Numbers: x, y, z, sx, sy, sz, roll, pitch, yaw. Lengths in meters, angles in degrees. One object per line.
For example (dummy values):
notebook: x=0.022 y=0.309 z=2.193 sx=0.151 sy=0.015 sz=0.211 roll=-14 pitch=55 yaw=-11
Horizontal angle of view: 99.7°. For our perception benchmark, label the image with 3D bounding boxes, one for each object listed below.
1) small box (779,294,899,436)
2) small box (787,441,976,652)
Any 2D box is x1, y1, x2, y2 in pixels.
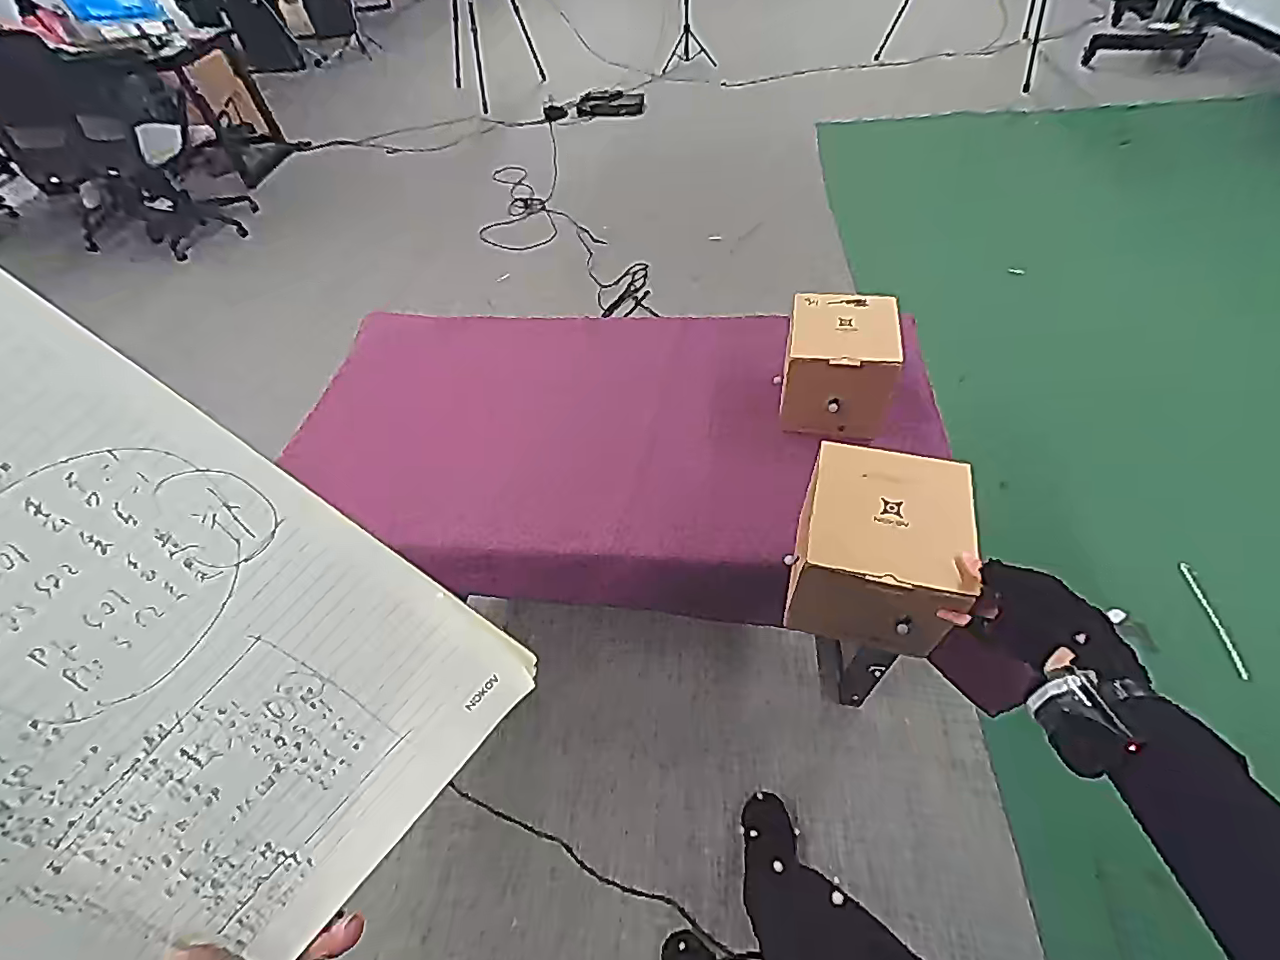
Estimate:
small box: x=0.334 y=-0.196 z=0.931 sx=0.168 sy=0.176 sz=0.179 roll=7 pitch=54 yaw=12
small box: x=0.277 y=0.083 z=0.646 sx=0.168 sy=0.176 sz=0.179 roll=11 pitch=54 yaw=14
